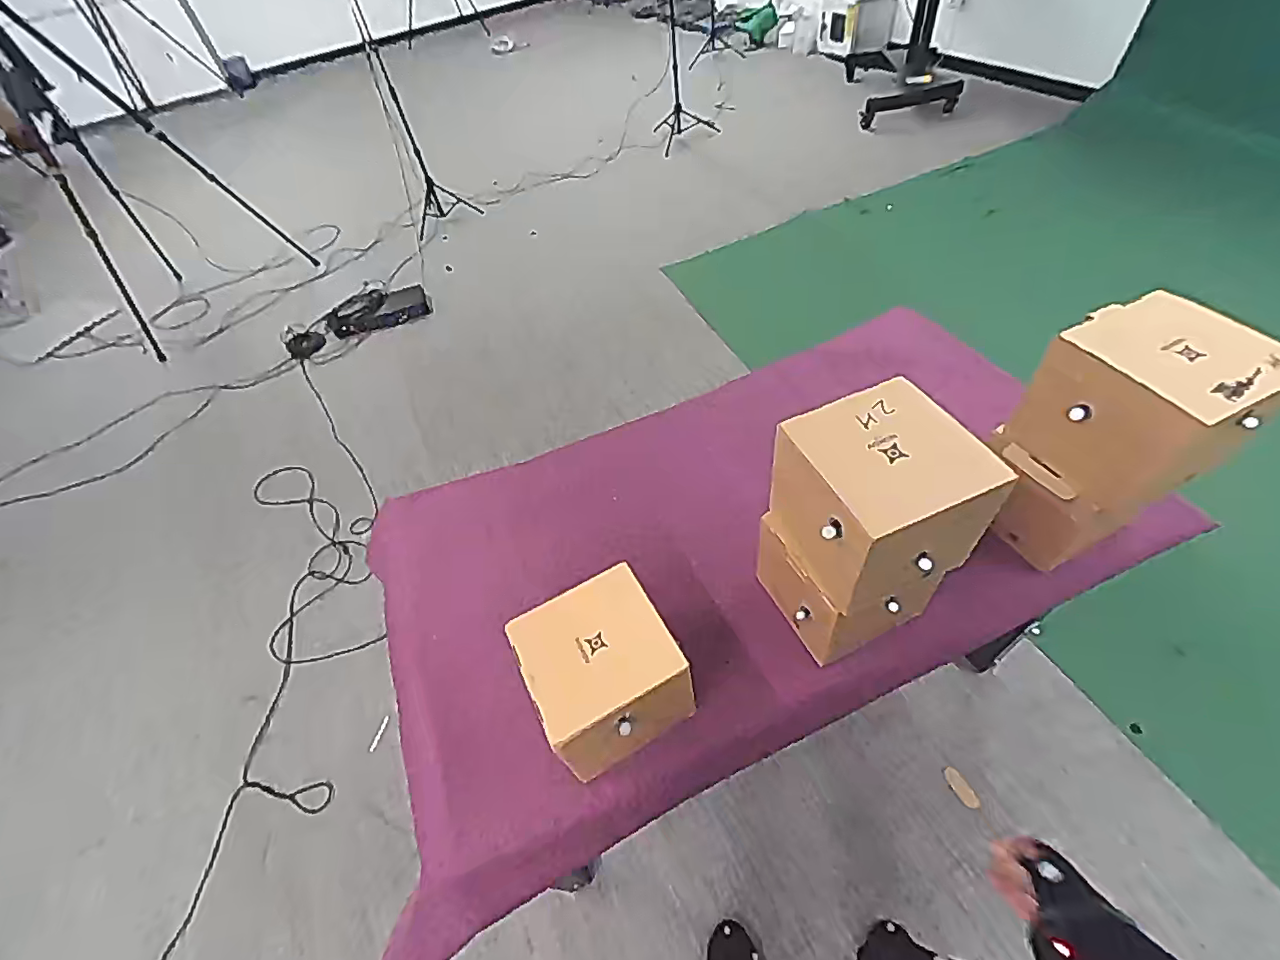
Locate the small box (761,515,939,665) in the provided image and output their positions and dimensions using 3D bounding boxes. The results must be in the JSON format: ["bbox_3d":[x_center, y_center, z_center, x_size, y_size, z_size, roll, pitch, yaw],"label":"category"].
[{"bbox_3d":[0.286,0.129,0.755,0.179,0.176,0.168,-23,50,-9],"label":"small box"}]

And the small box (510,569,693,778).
[{"bbox_3d":[-0.043,0.254,0.708,0.179,0.176,0.168,-27,51,-12],"label":"small box"}]

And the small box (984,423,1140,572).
[{"bbox_3d":[0.622,0.006,0.794,0.179,0.176,0.168,-25,52,-11],"label":"small box"}]

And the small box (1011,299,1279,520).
[{"bbox_3d":[0.605,-0.084,0.657,0.168,0.176,0.179,-23,50,-8],"label":"small box"}]

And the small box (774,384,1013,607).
[{"bbox_3d":[0.271,0.025,0.628,0.168,0.176,0.179,-21,50,-8],"label":"small box"}]
